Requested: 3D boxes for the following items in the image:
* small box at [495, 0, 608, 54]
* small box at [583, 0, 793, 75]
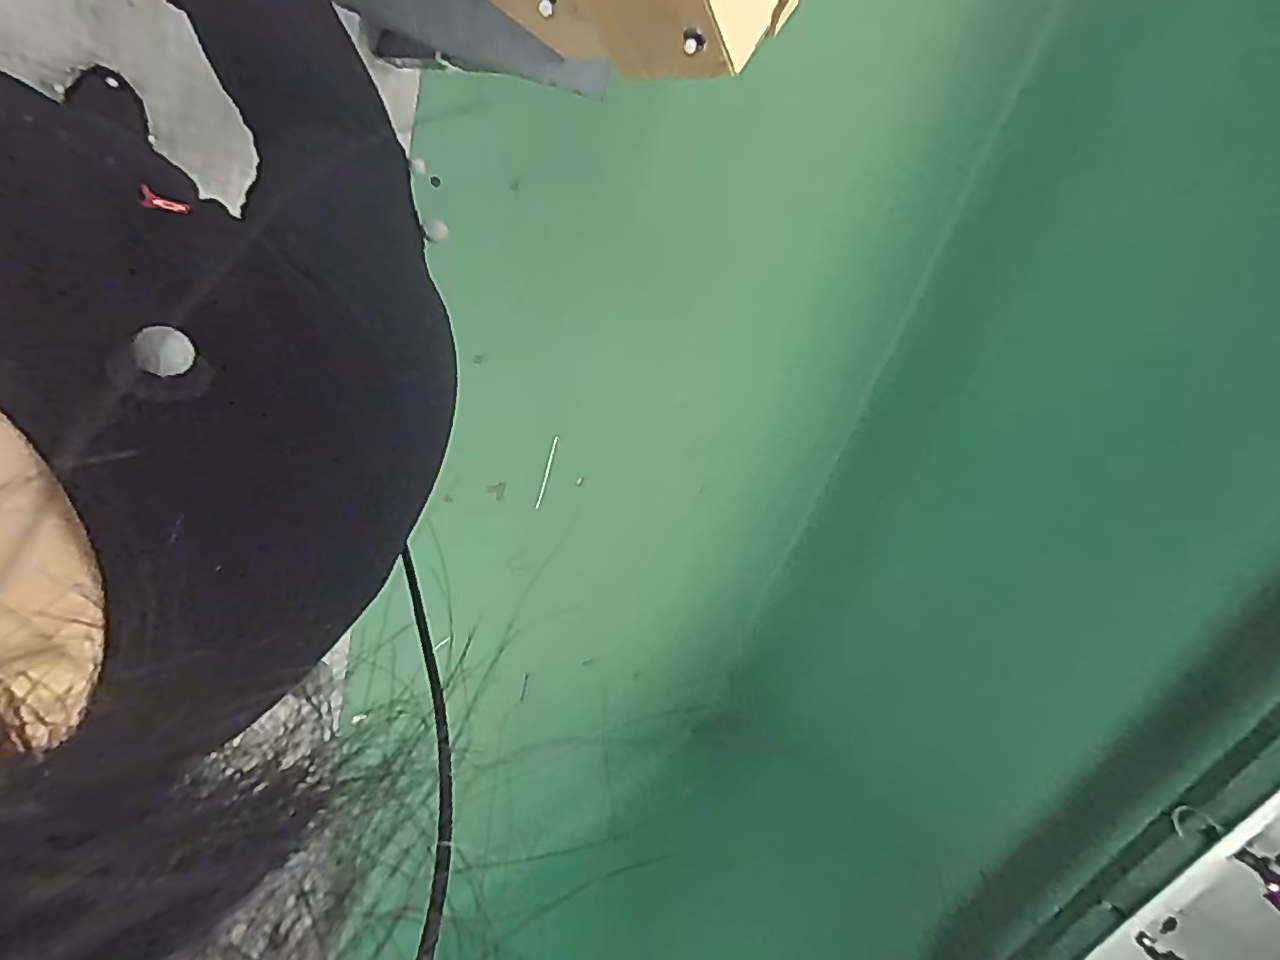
[{"bbox_3d":[-0.066,-0.584,0.568,0.179,0.176,0.168,2,114,-47],"label":"small box"},{"bbox_3d":[0.039,-0.497,0.476,0.168,0.176,0.179,-56,143,0],"label":"small box"}]
